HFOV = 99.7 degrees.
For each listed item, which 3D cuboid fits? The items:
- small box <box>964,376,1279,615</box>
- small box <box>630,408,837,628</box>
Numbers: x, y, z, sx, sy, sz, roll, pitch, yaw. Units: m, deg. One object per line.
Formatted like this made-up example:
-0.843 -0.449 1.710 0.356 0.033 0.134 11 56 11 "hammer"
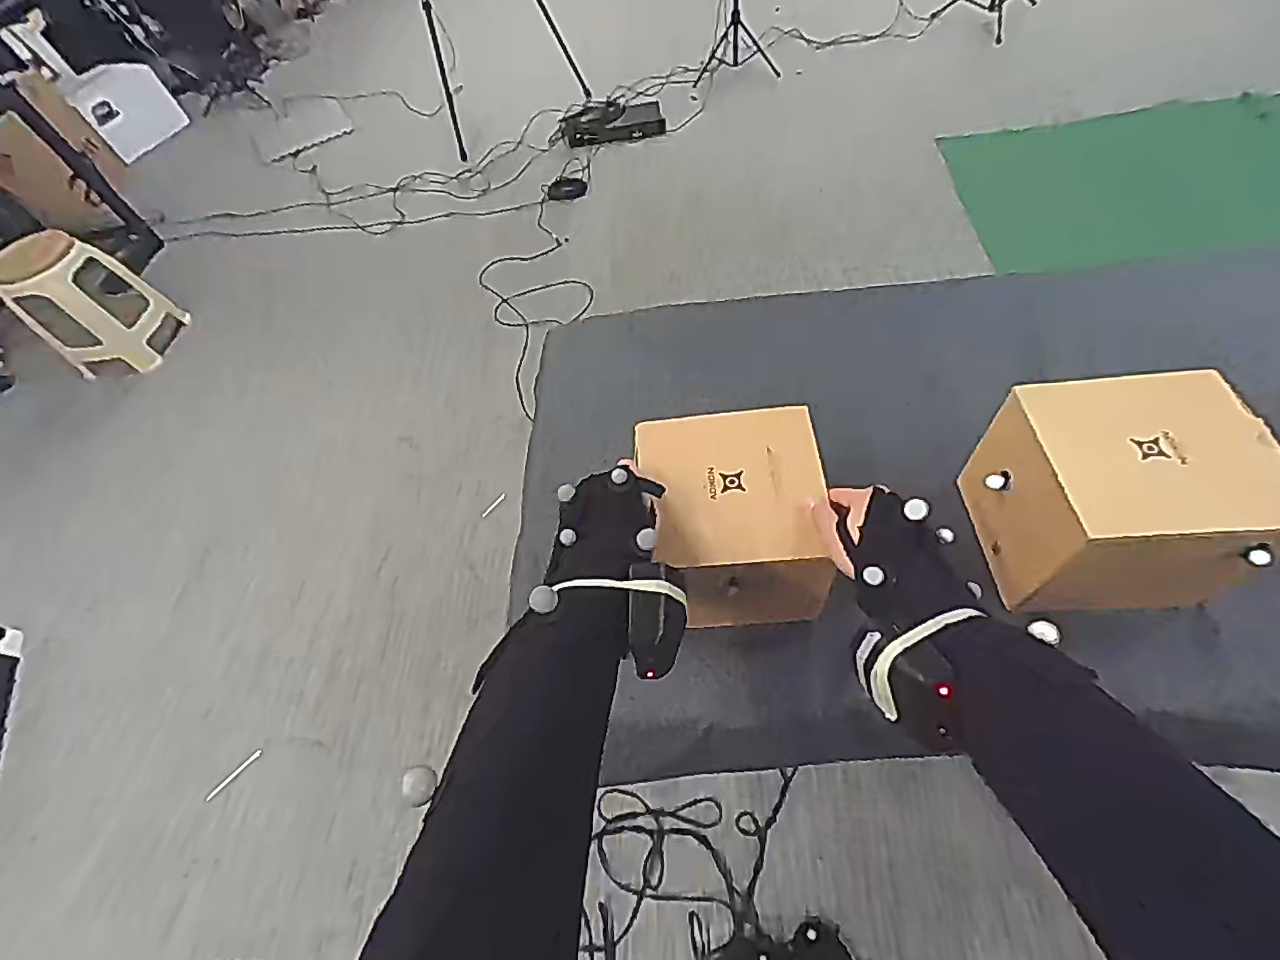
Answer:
0.443 0.023 0.521 0.179 0.176 0.168 -4 55 6 "small box"
0.088 0.048 0.563 0.179 0.176 0.168 -5 57 5 "small box"
